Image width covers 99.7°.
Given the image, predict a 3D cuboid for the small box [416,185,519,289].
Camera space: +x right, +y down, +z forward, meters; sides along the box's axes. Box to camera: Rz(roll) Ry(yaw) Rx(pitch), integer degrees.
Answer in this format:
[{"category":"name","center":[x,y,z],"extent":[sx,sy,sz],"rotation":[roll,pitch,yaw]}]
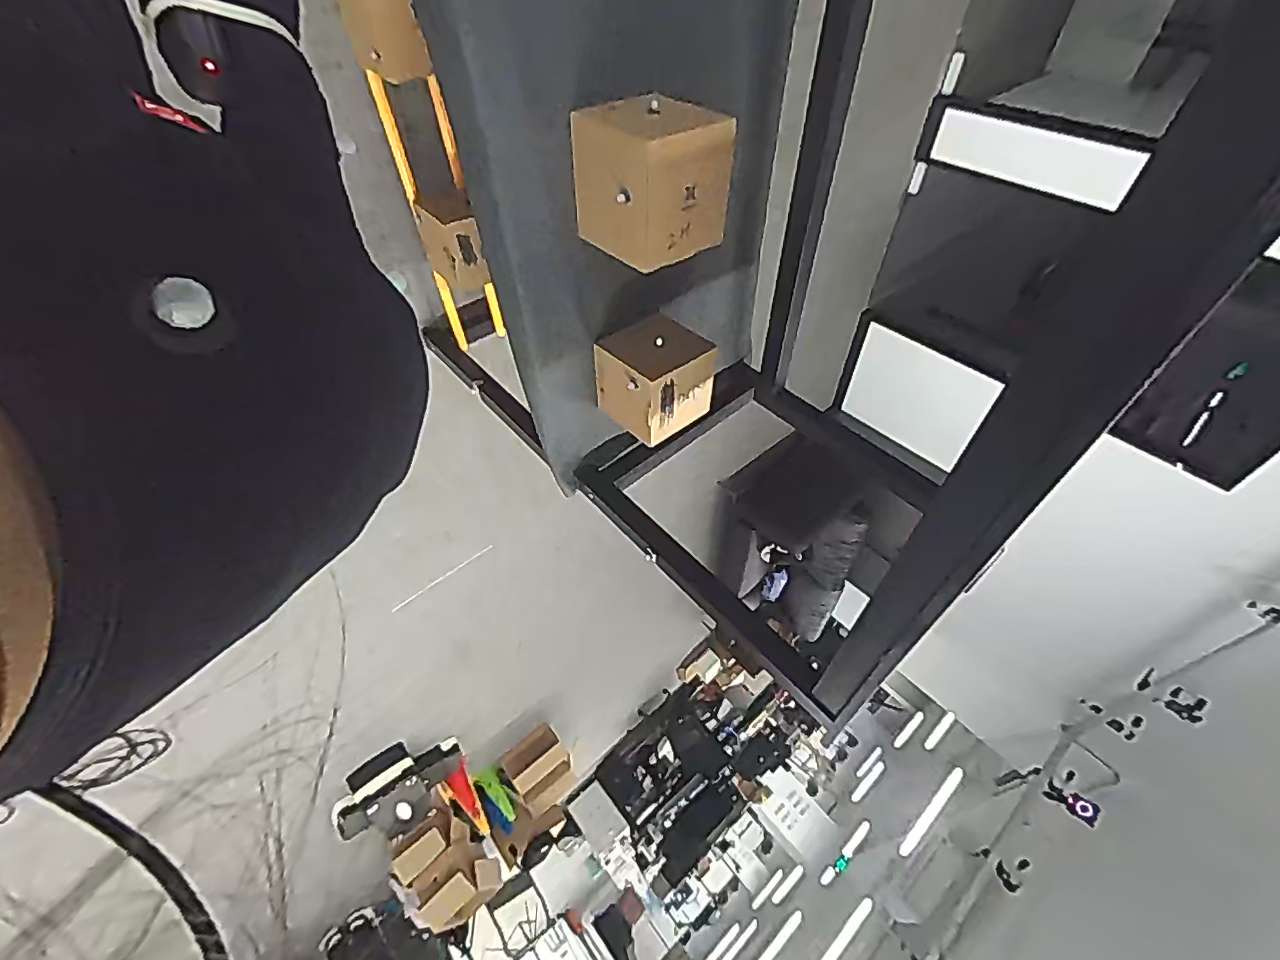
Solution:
[{"category":"small box","center":[-0.423,-0.596,1.318],"extent":[0.179,0.176,0.168],"rotation":[-32,146,-27]}]

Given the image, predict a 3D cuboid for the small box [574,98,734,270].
[{"category":"small box","center":[0.015,-0.449,0.808],"extent":[0.168,0.176,0.179],"rotation":[-32,146,-27]}]
